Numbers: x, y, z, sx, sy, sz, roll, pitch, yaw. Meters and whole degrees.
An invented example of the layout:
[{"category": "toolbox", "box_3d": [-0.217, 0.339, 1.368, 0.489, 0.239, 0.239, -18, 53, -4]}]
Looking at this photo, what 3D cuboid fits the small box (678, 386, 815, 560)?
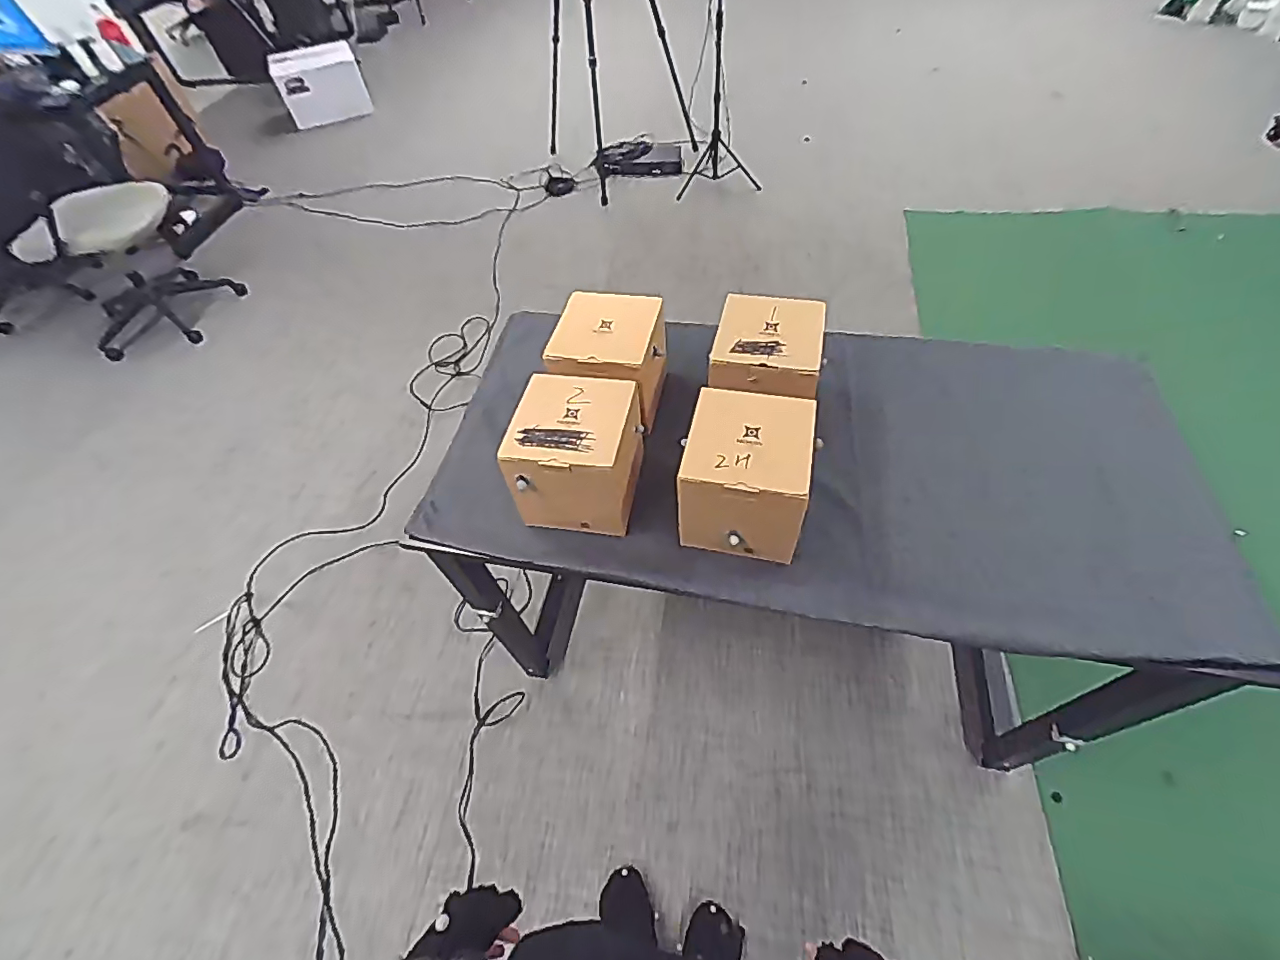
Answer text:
[{"category": "small box", "box_3d": [0.152, -0.009, 0.791, 0.168, 0.176, 0.179, 9, 54, 12]}]
